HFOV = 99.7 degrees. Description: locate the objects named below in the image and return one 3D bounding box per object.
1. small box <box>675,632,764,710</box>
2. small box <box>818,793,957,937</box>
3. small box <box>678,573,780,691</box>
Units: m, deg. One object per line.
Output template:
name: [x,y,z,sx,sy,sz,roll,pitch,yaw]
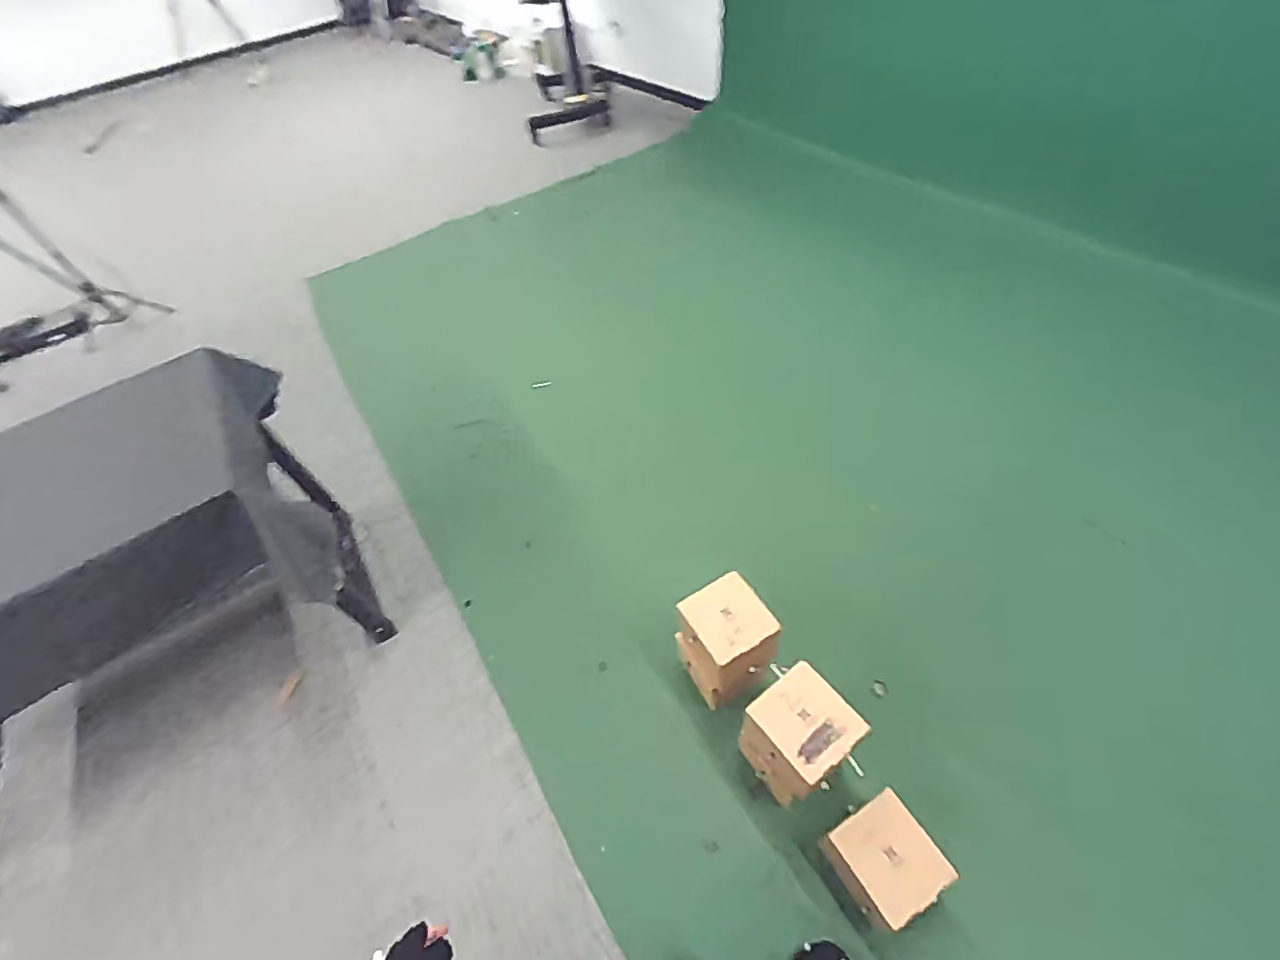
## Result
small box: [0.210,0.463,1.397,0.179,0.176,0.168,-26,51,-13]
small box: [0.489,0.777,1.097,0.168,0.176,0.179,-27,52,-14]
small box: [0.204,0.359,1.269,0.168,0.176,0.179,-27,52,-13]
